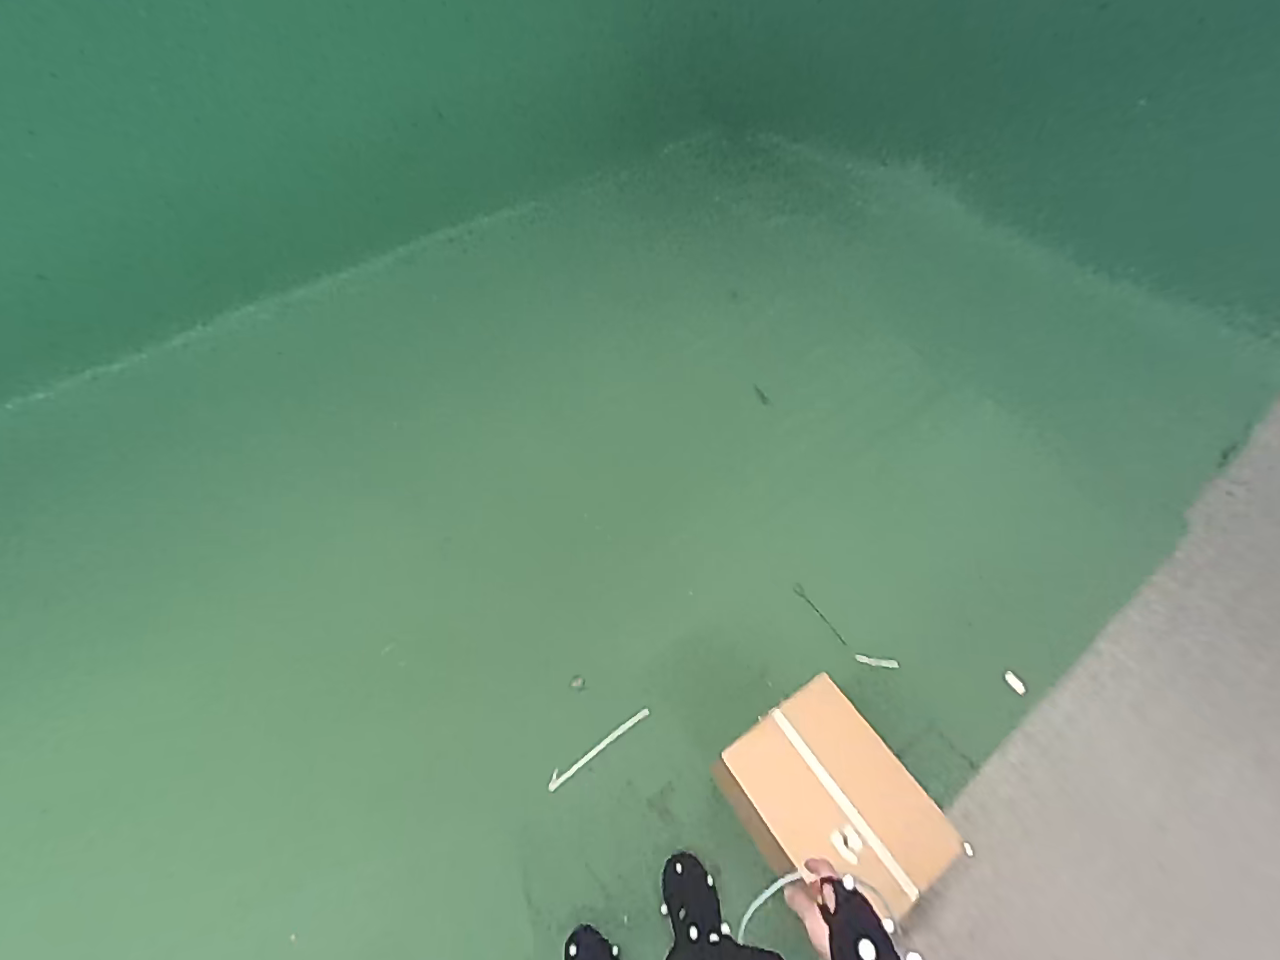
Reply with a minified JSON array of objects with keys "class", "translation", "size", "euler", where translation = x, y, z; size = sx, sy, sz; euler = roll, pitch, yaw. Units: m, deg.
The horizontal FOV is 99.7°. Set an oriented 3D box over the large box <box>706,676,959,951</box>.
[{"class":"large box","translation":[0.406,0.742,1.251],"size":[0.320,0.320,0.408],"euler":[-30,62,-17]}]
